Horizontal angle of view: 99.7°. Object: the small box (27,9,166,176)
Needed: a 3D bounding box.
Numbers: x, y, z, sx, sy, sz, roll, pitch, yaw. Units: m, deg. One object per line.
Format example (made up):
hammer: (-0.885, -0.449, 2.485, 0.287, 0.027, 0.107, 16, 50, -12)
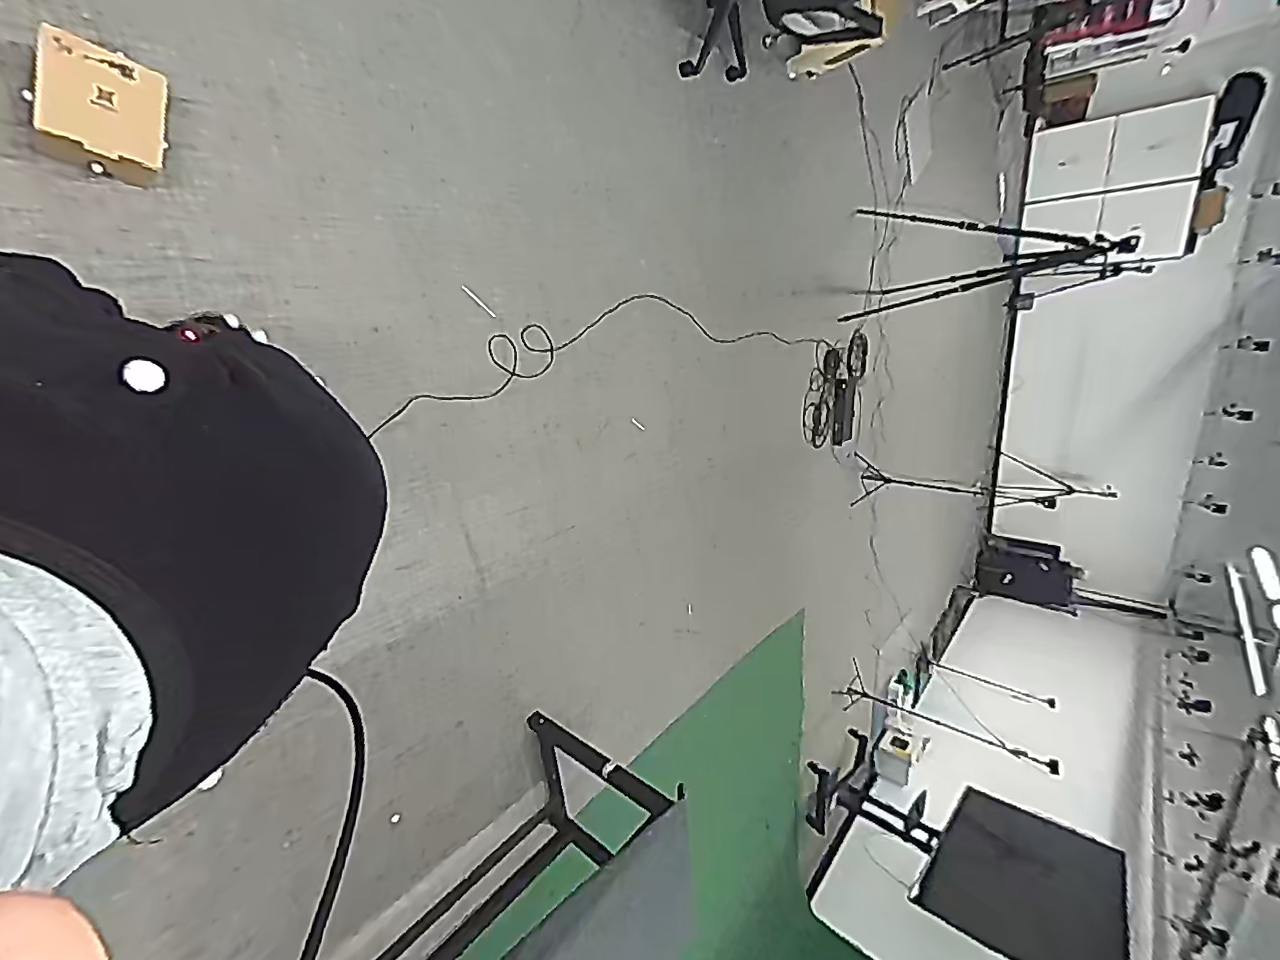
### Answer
small box: (-1.006, -0.697, 1.003, 0.168, 0.176, 0.179, 4, 97, -48)
